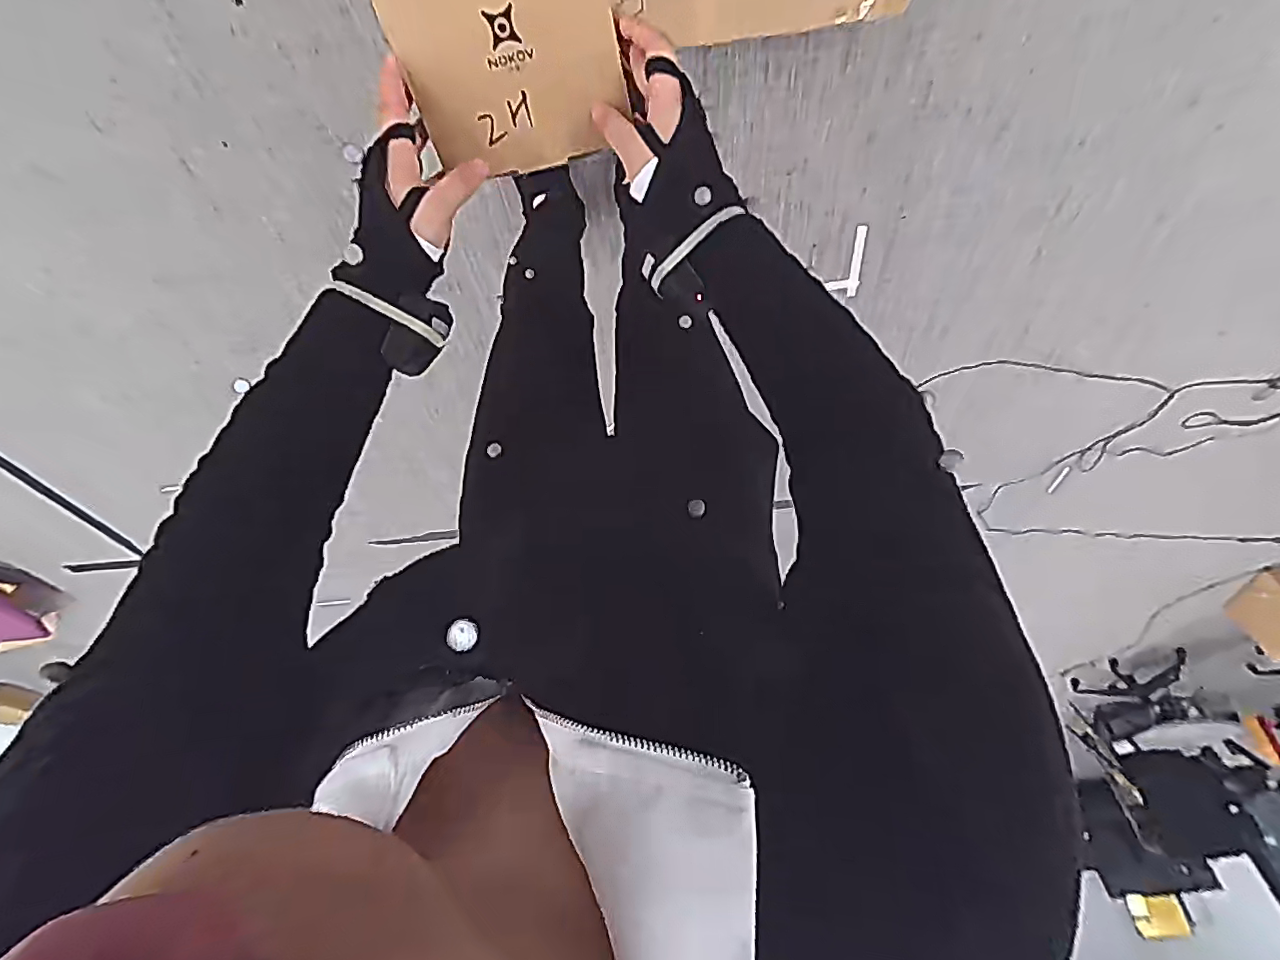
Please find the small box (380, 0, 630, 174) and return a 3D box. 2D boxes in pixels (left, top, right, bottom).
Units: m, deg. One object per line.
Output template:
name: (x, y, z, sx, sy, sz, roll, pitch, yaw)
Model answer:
small box: (-0.108, -0.397, 0.458, 0.168, 0.176, 0.179, -10, 139, 5)
